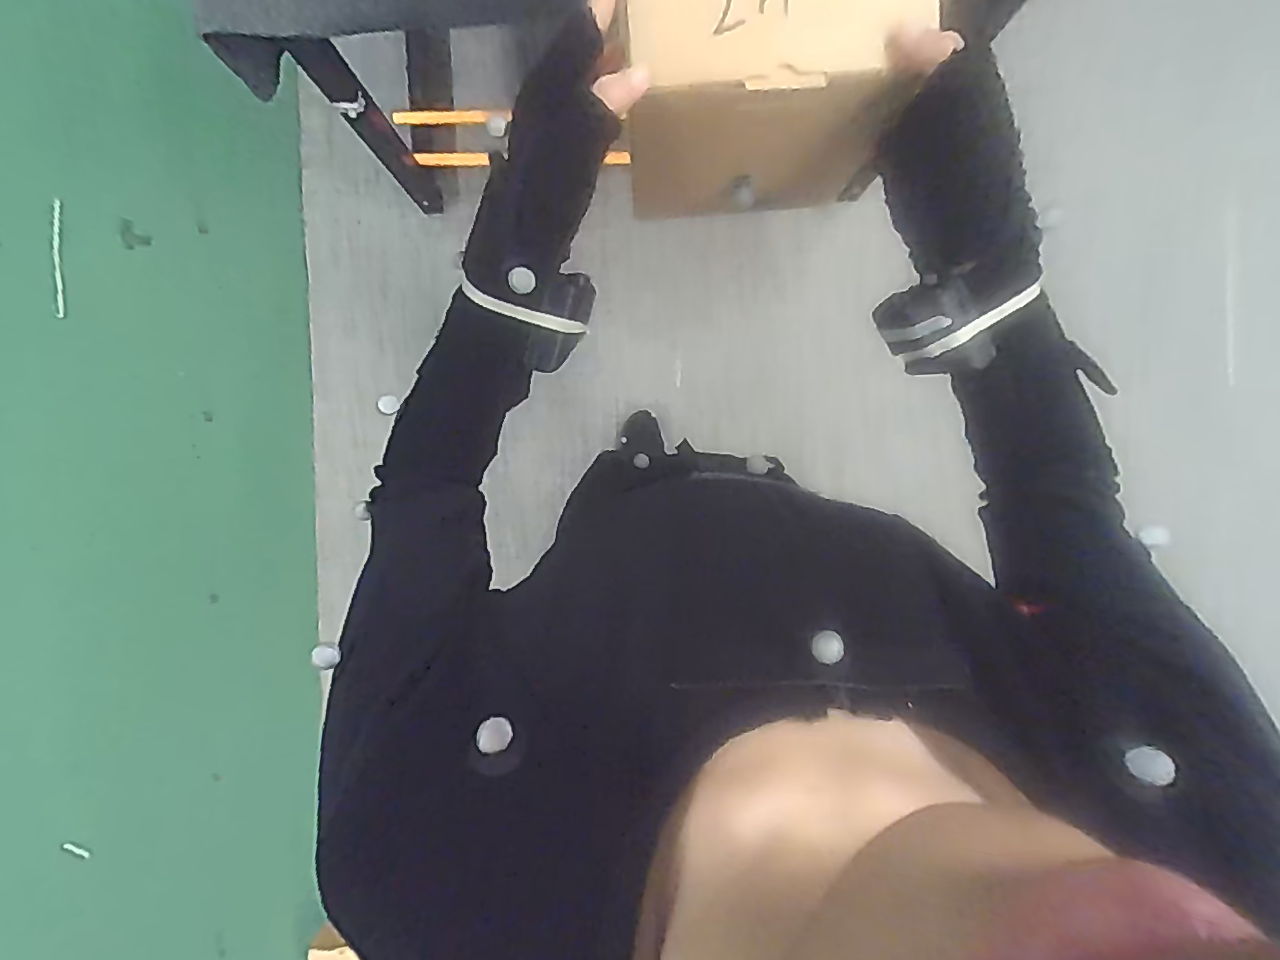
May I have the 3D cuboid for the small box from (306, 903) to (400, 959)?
[{"bbox_3d":[-0.740,1.254,1.408,0.168,0.176,0.179,0,90,-1],"label":"small box"}]
